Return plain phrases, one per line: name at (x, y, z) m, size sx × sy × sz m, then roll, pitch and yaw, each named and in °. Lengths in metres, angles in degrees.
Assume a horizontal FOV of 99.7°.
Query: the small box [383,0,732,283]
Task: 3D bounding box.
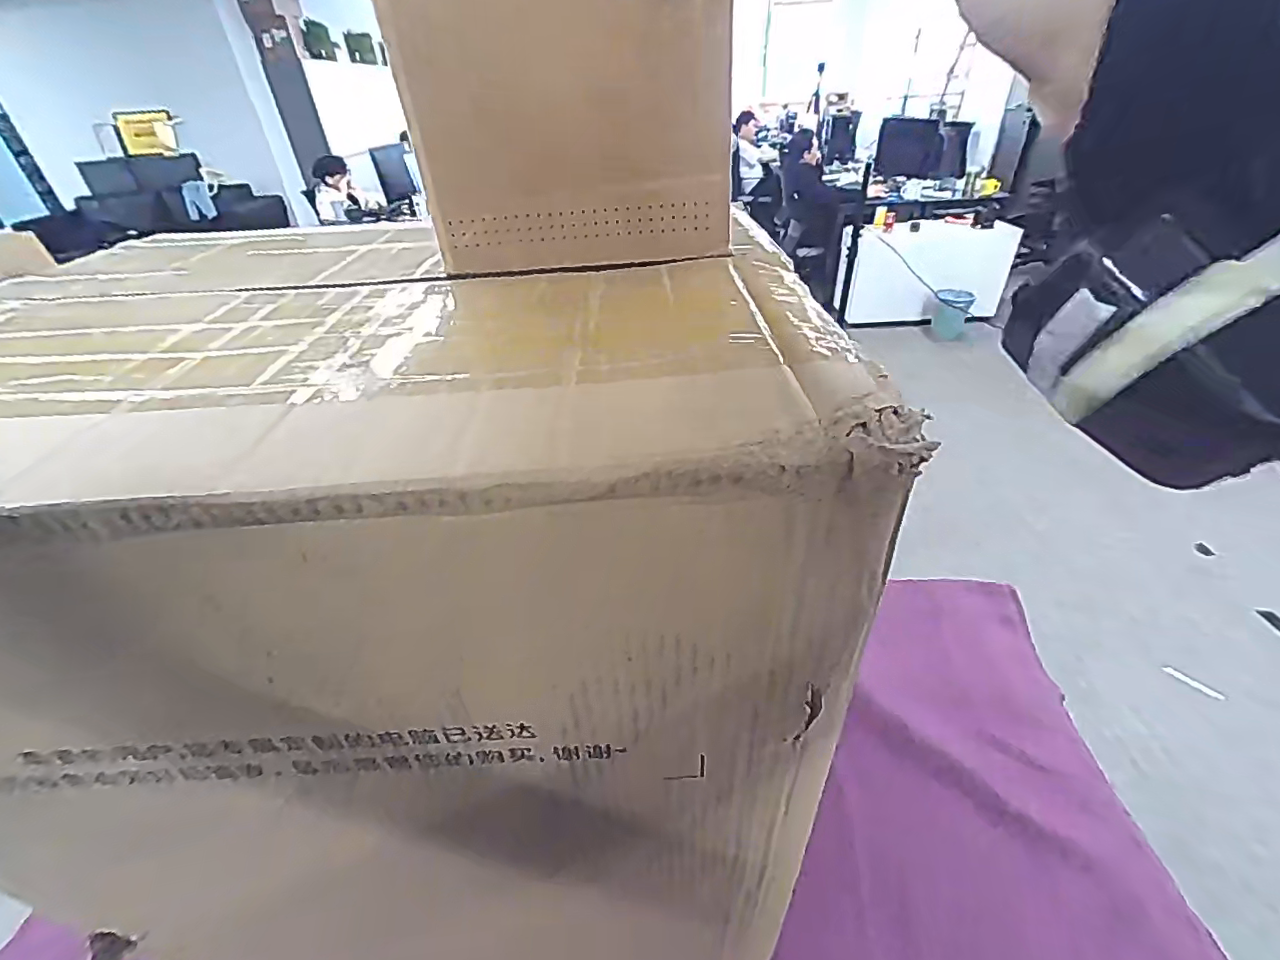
small box at (-0.038, -0.232, 0.345) m, size 0.179 × 0.176 × 0.168 m, roll -3°, pitch 35°, yaw 1°
